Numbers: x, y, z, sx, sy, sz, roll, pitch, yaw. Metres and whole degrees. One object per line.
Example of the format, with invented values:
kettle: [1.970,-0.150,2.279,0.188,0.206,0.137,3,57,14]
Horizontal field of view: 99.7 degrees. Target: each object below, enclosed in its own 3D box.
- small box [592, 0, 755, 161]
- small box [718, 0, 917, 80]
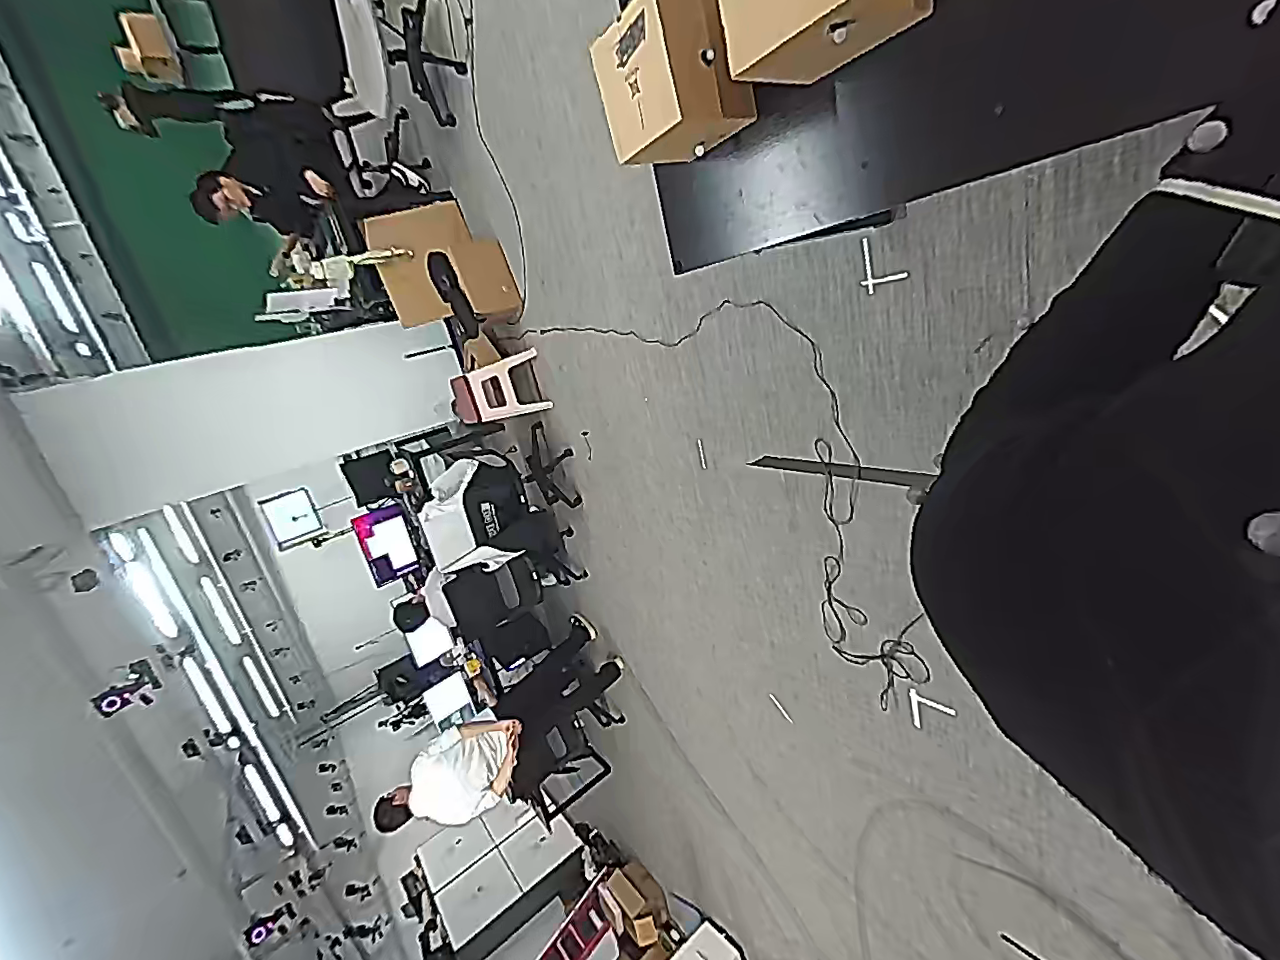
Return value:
small box: [0.055,-0.632,0.854,0.168,0.176,0.179,7,118,55]
small box: [0.210,-0.607,0.638,0.179,0.176,0.168,9,118,54]
